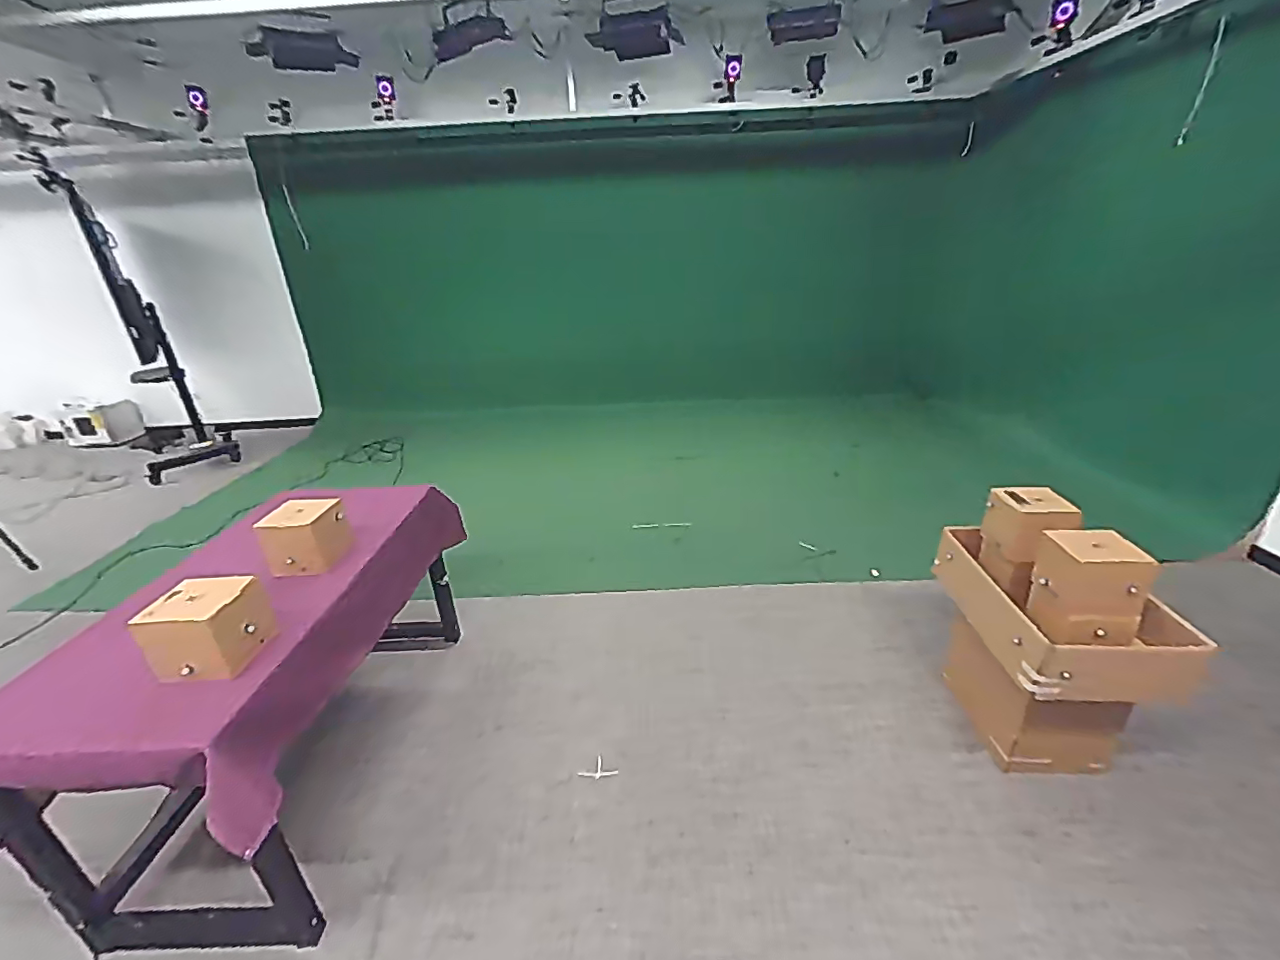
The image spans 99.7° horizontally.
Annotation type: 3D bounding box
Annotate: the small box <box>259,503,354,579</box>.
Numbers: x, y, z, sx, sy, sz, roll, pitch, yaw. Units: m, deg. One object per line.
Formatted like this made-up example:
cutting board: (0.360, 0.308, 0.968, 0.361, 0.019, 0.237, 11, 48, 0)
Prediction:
small box: (-0.993, 0.182, 1.632, 0.168, 0.176, 0.179, -3, 23, 4)

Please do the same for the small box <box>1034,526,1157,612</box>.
small box: (1.185, 0.234, 1.423, 0.179, 0.176, 0.168, -2, 23, 8)

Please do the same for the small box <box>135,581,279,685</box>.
small box: (-0.980, 0.351, 1.246, 0.179, 0.176, 0.168, -3, 23, 2)
